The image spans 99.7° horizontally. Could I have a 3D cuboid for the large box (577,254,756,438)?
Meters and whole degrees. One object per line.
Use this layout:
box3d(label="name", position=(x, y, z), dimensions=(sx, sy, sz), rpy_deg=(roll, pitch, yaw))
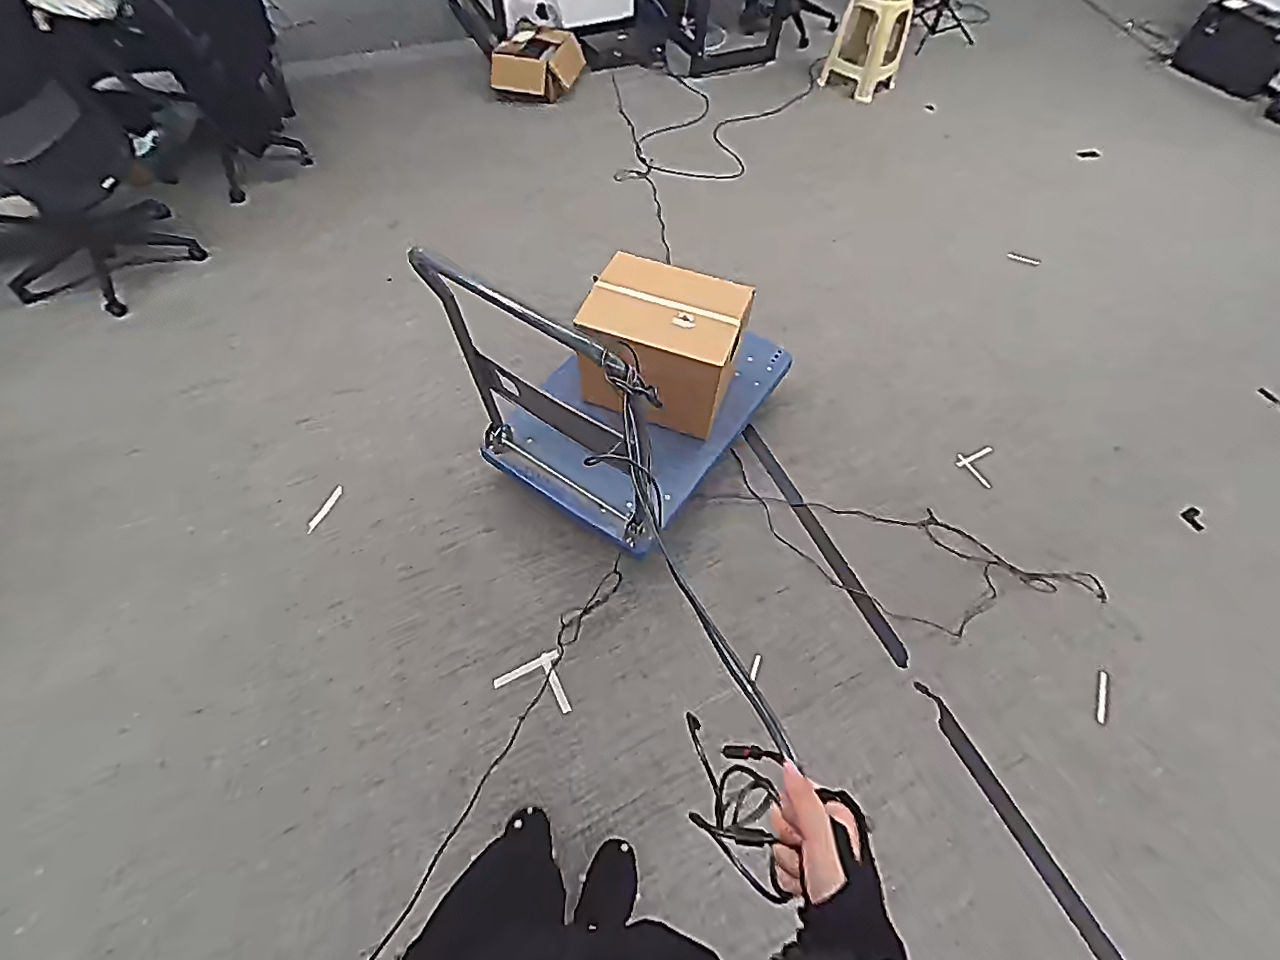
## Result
box3d(label="large box", position=(0.067, -0.375, 1.533), dimensions=(0.408, 0.320, 0.320), rpy_deg=(20, 61, 9))
